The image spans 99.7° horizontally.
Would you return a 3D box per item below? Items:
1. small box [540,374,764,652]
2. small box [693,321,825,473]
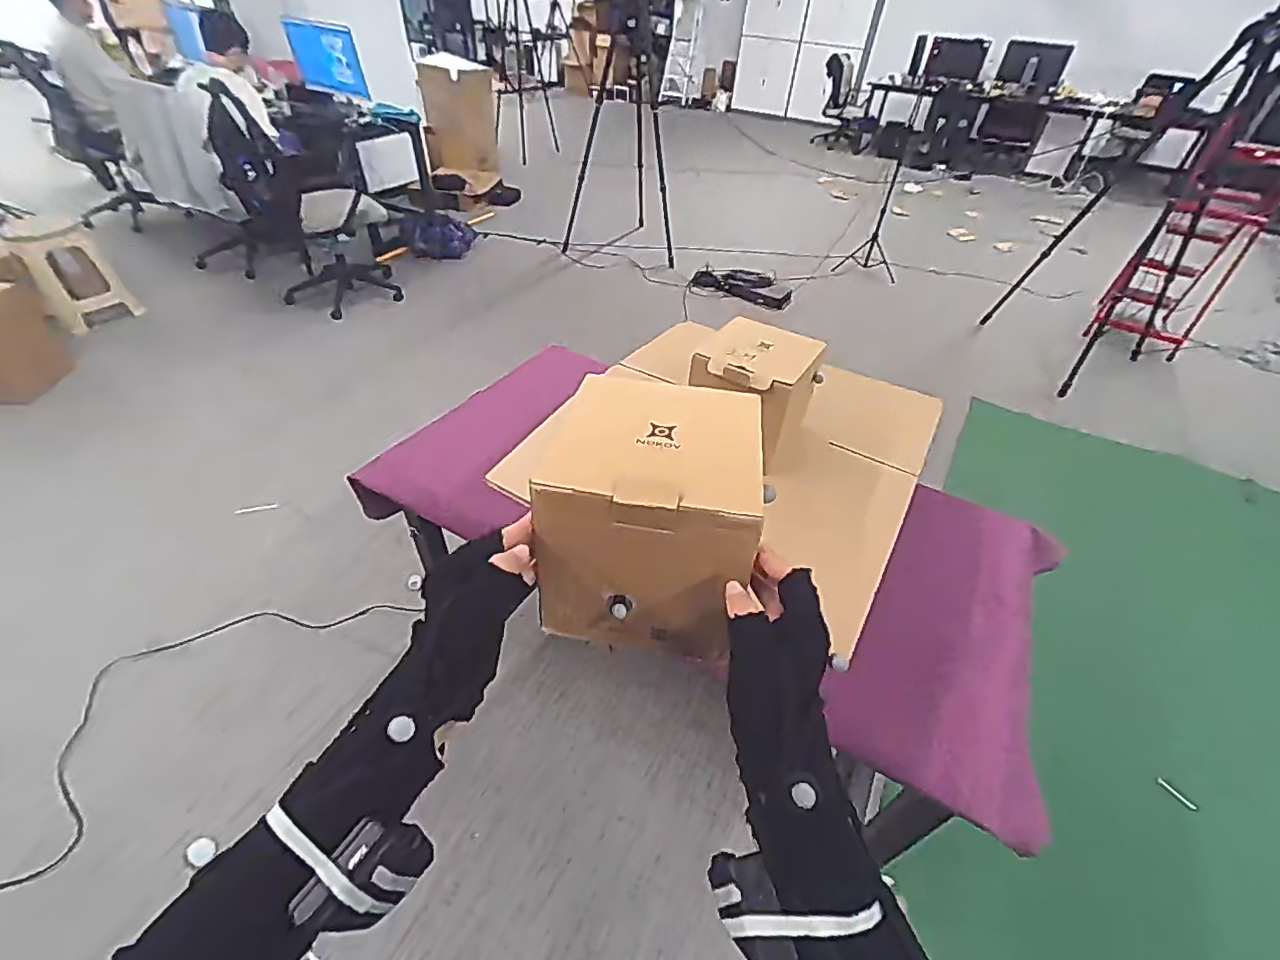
[{"bbox_3d":[0.014,0.025,0.495,0.168,0.176,0.179,8,38,5],"label":"small box"},{"bbox_3d":[0.190,-0.144,0.923,0.168,0.176,0.179,24,45,22],"label":"small box"}]
